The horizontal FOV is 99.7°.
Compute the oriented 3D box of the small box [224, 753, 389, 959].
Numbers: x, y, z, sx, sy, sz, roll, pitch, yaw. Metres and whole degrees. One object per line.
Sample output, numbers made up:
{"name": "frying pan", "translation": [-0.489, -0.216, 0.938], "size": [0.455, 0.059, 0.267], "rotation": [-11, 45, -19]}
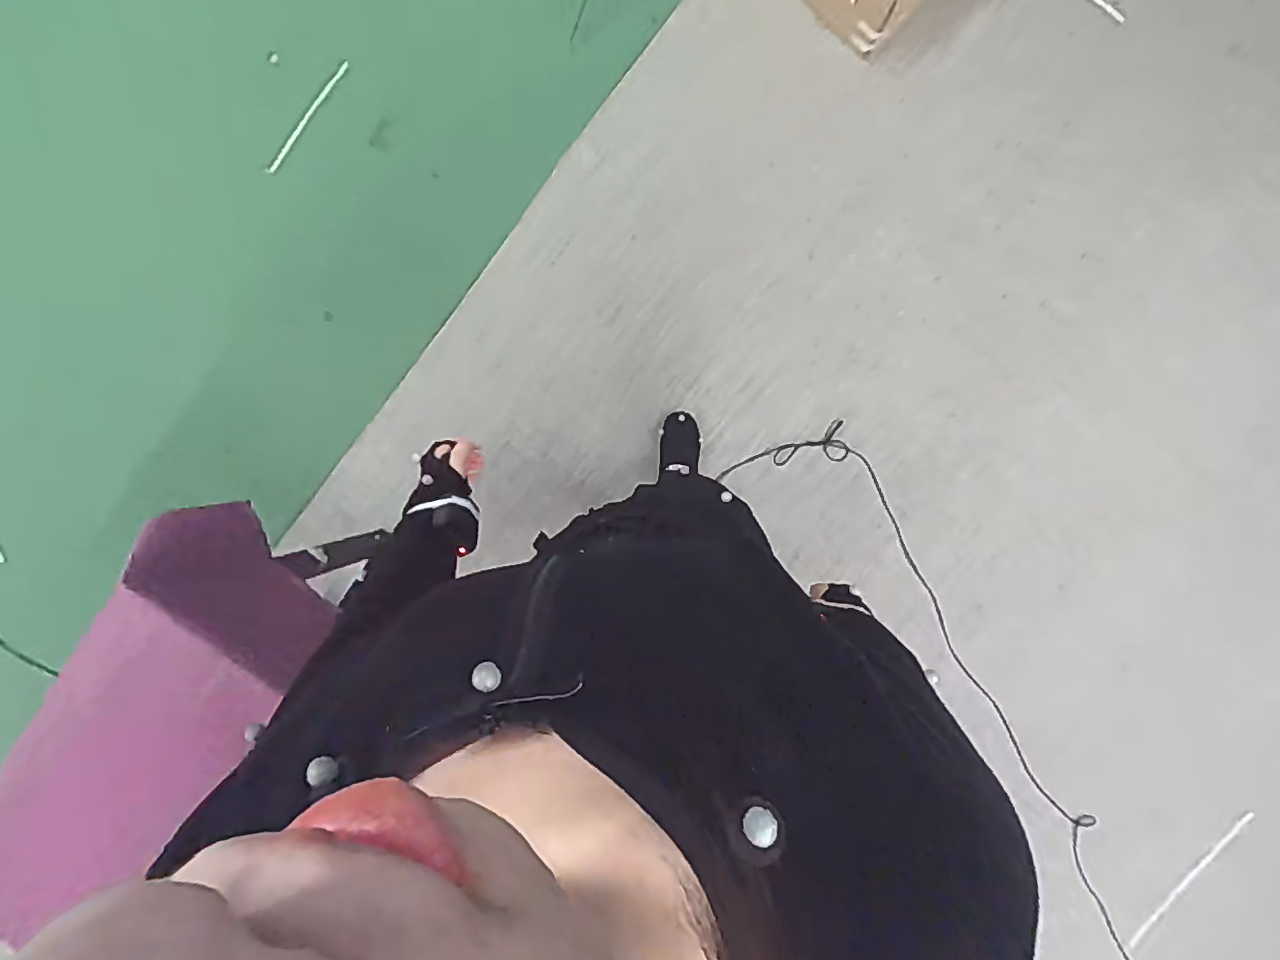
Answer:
{"name": "small box", "translation": [-0.479, 0.520, 0.737], "size": [0.168, 0.176, 0.179], "rotation": [39, 94, 1]}
